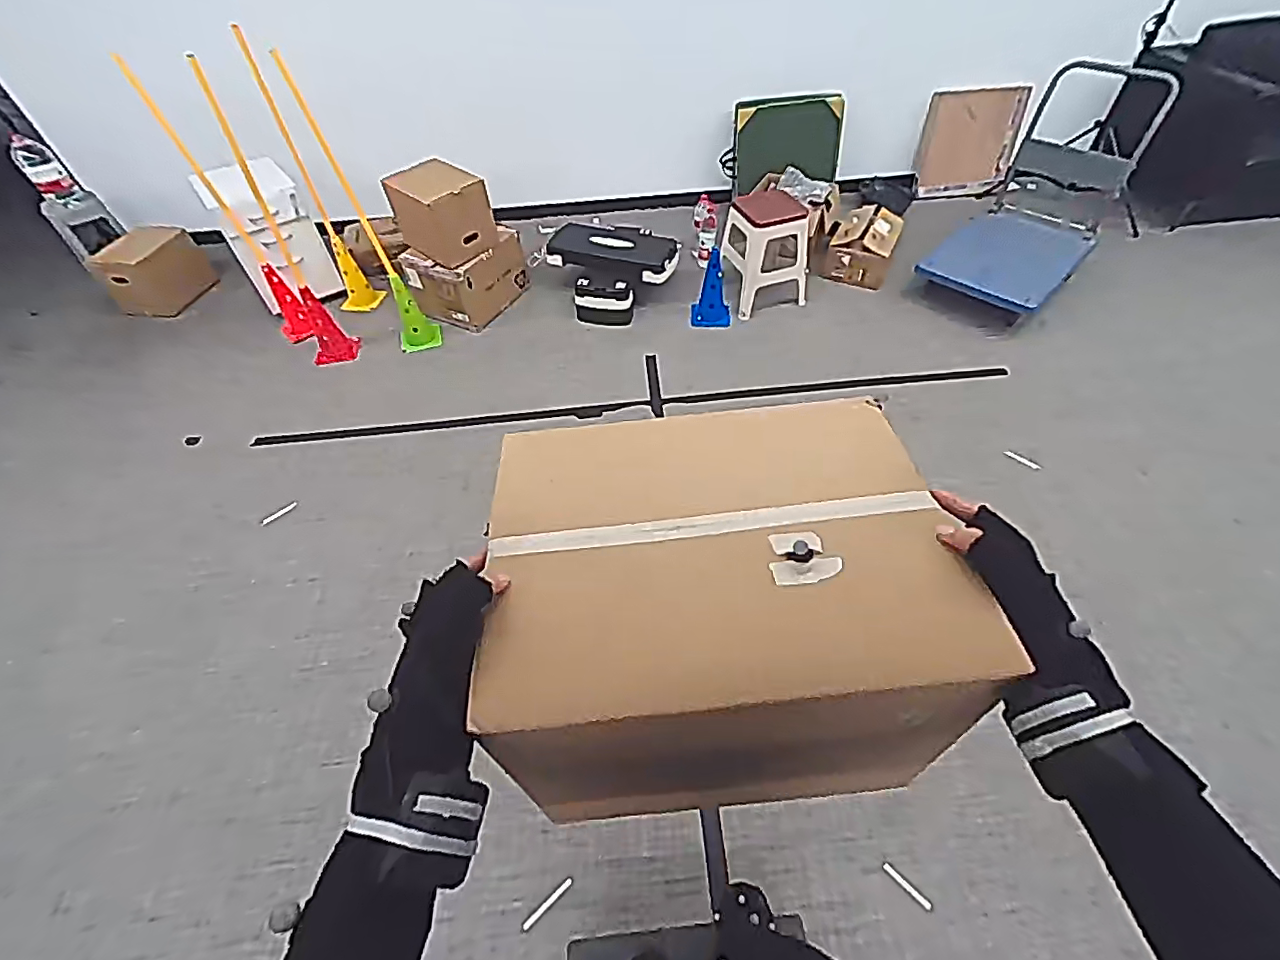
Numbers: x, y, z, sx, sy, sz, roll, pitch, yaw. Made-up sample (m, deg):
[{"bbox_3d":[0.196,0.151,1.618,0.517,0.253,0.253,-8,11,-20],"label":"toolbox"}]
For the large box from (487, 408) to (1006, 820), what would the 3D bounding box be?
[{"bbox_3d":[0.076,0.153,0.611,0.408,0.320,0.320,-6,47,-1],"label":"large box"}]

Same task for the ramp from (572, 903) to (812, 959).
[{"bbox_3d":[0.151,1.349,0.897,0.509,0.206,0.991,-6,51,-3],"label":"ramp"}]
